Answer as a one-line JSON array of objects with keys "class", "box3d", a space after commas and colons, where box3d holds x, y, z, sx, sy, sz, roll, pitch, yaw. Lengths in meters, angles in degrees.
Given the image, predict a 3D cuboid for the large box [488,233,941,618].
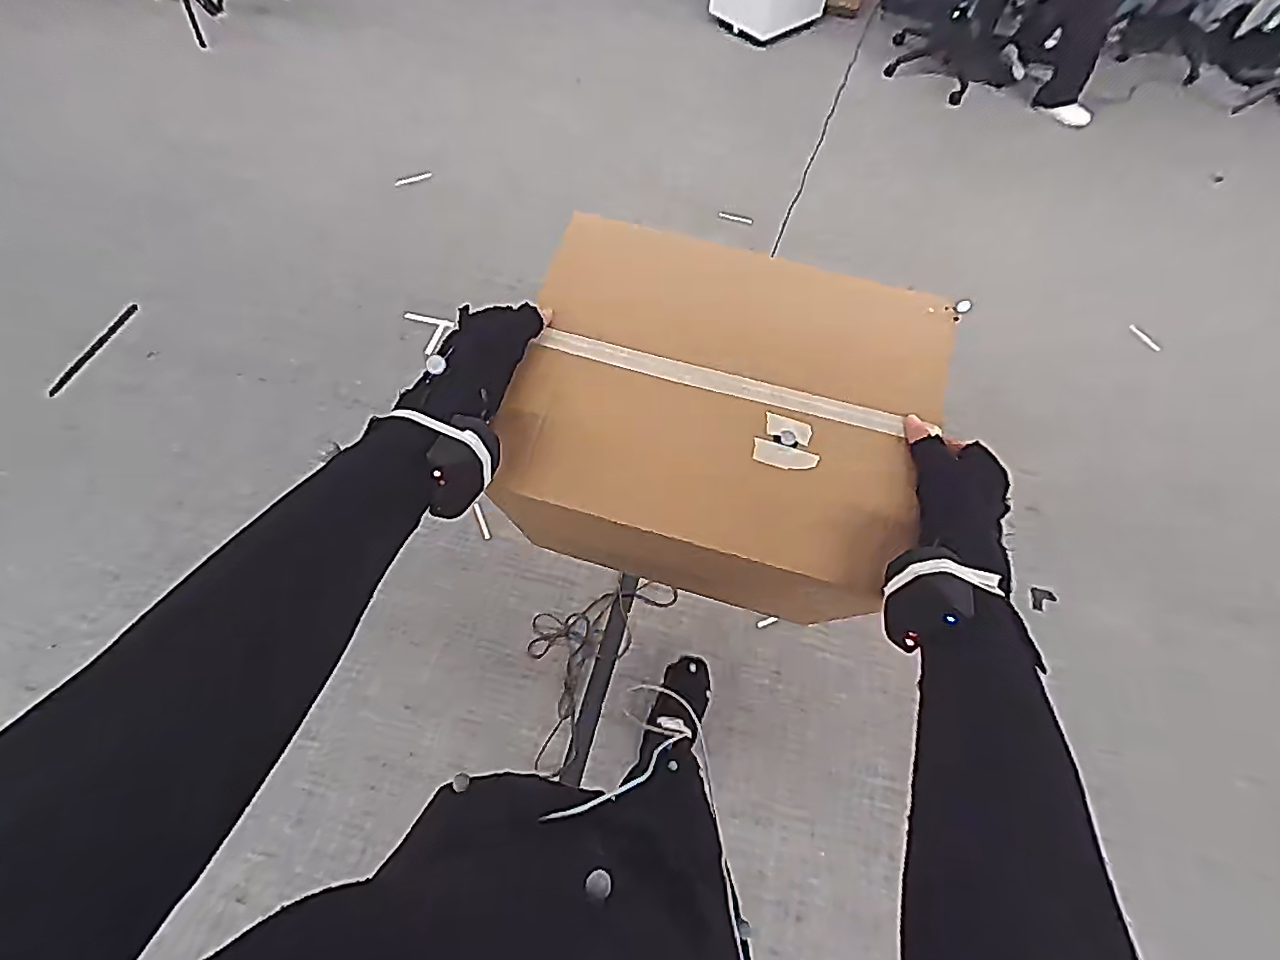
[{"class": "large box", "box3d": [0.082, -0.040, 0.676, 0.408, 0.320, 0.320, 16, 73, 4]}]
